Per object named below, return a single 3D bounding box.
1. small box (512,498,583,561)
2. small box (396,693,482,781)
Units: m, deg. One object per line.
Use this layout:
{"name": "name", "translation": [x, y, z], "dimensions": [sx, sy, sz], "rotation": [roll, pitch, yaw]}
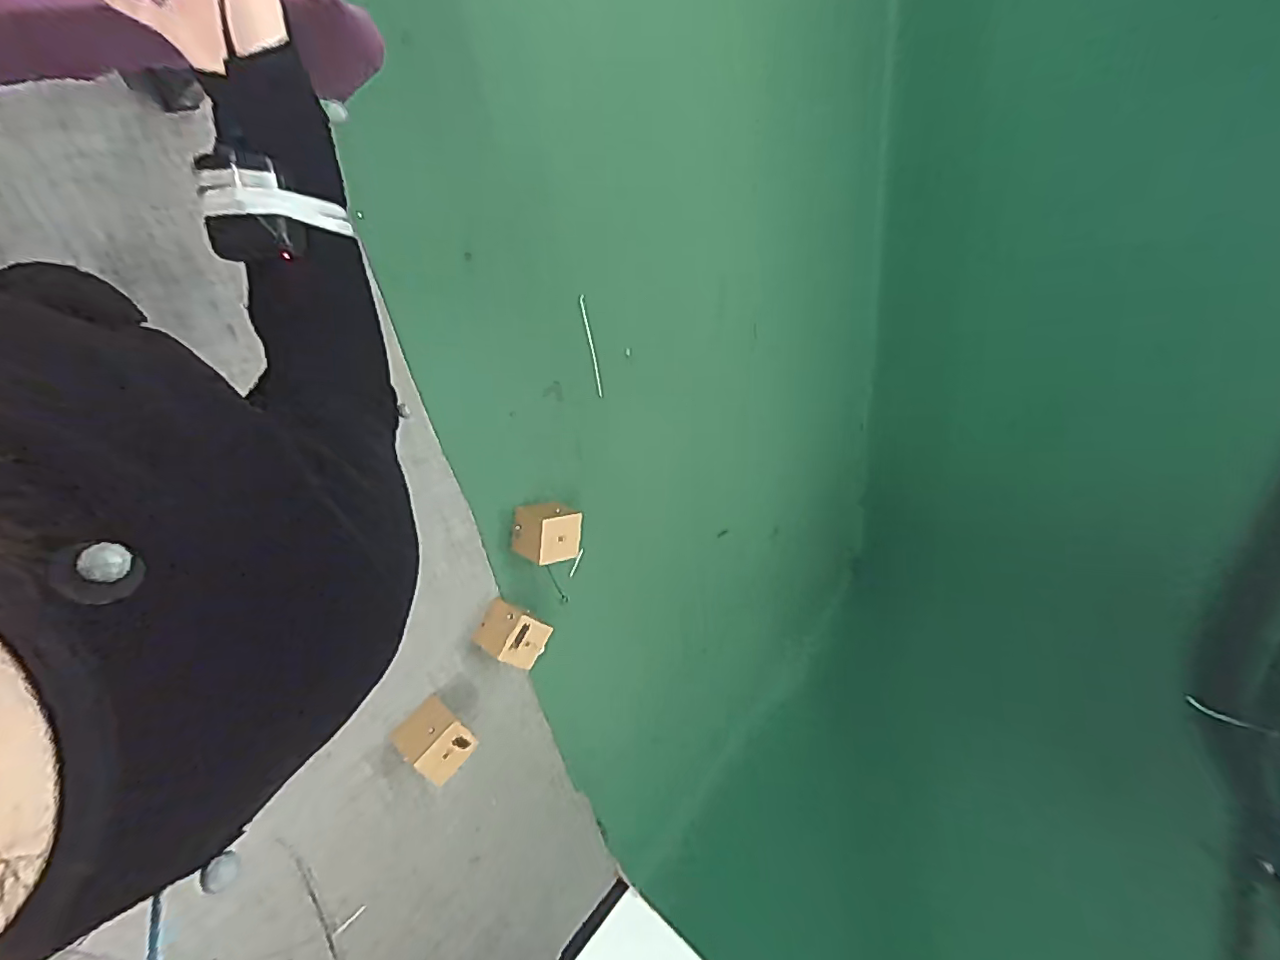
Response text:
{"name": "small box", "translation": [-0.328, 0.169, 1.920], "dimensions": [0.179, 0.176, 0.168], "rotation": [-7, 109, -47]}
{"name": "small box", "translation": [-0.668, 0.845, 1.792], "dimensions": [0.179, 0.176, 0.168], "rotation": [-45, 133, -27]}
